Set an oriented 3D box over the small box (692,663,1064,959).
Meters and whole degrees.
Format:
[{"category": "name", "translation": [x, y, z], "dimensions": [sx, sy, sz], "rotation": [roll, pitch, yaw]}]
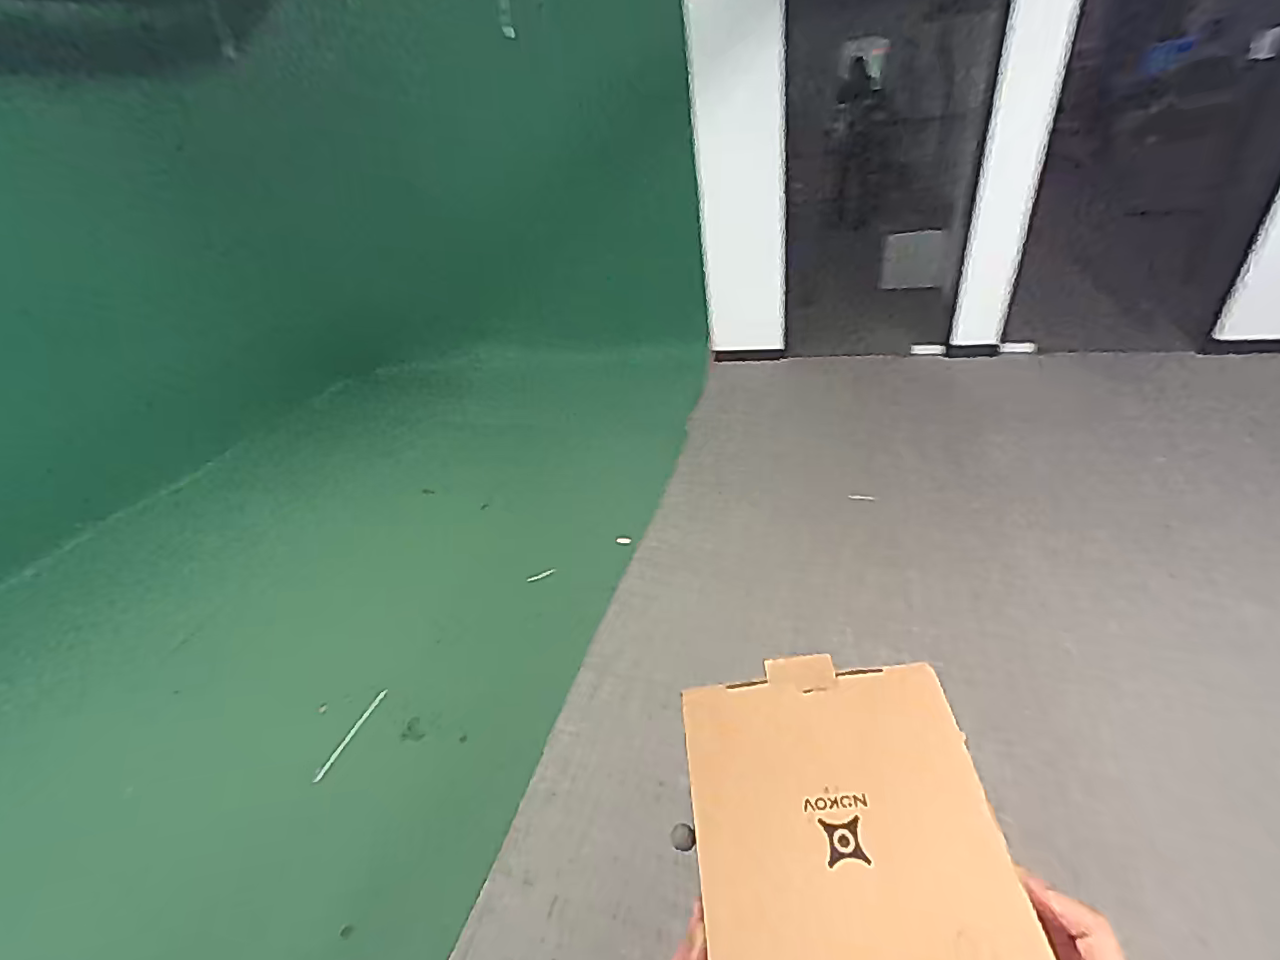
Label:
[{"category": "small box", "translation": [0.130, 0.244, 0.358], "dimensions": [0.168, 0.176, 0.179], "rotation": [-8, 49, 5]}]
